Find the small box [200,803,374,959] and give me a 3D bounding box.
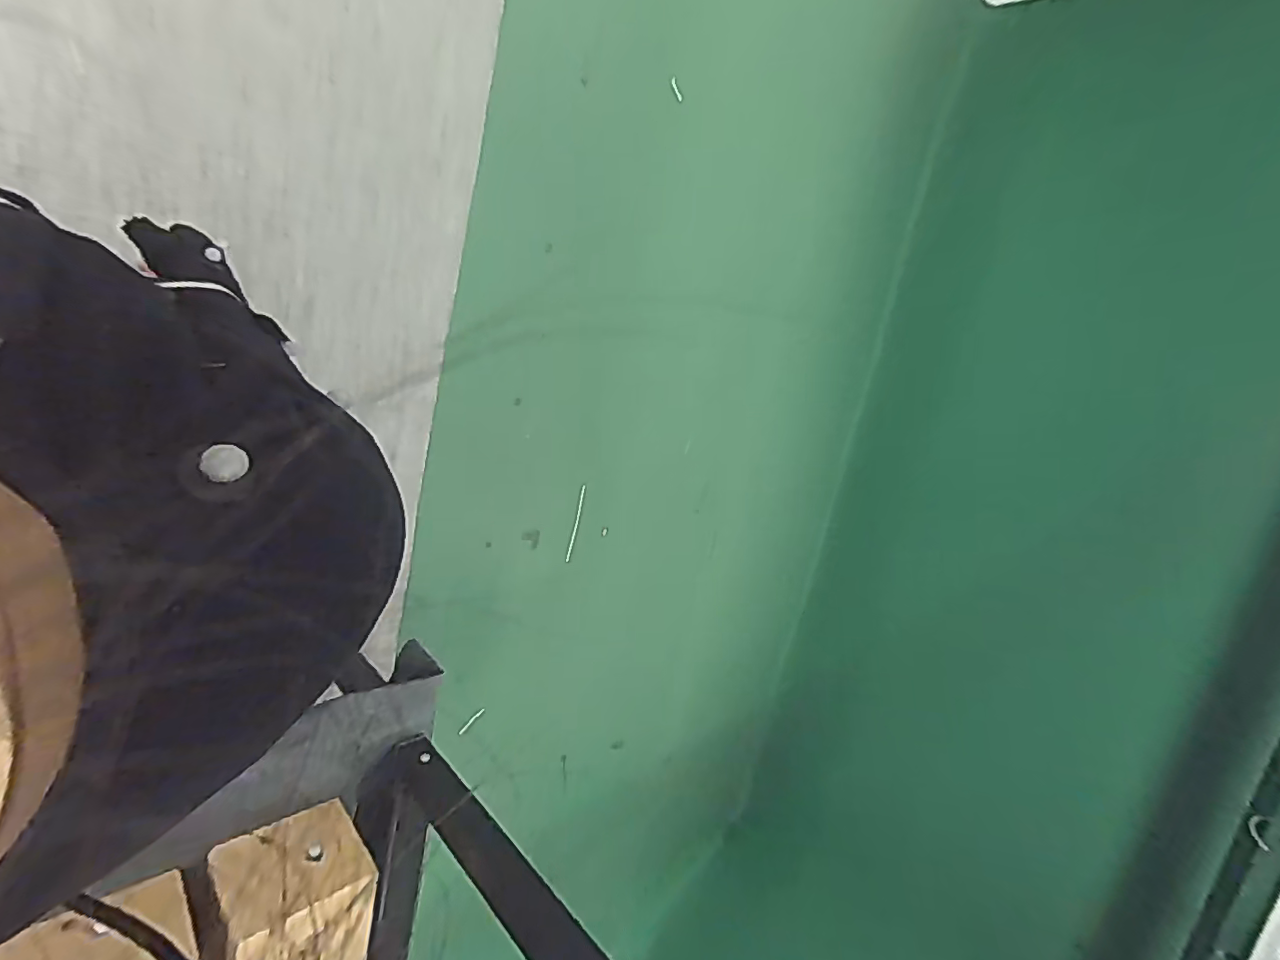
[{"bbox_3d":[-0.504,0.602,0.769,0.168,0.176,0.179,0,106,-48],"label":"small box"}]
